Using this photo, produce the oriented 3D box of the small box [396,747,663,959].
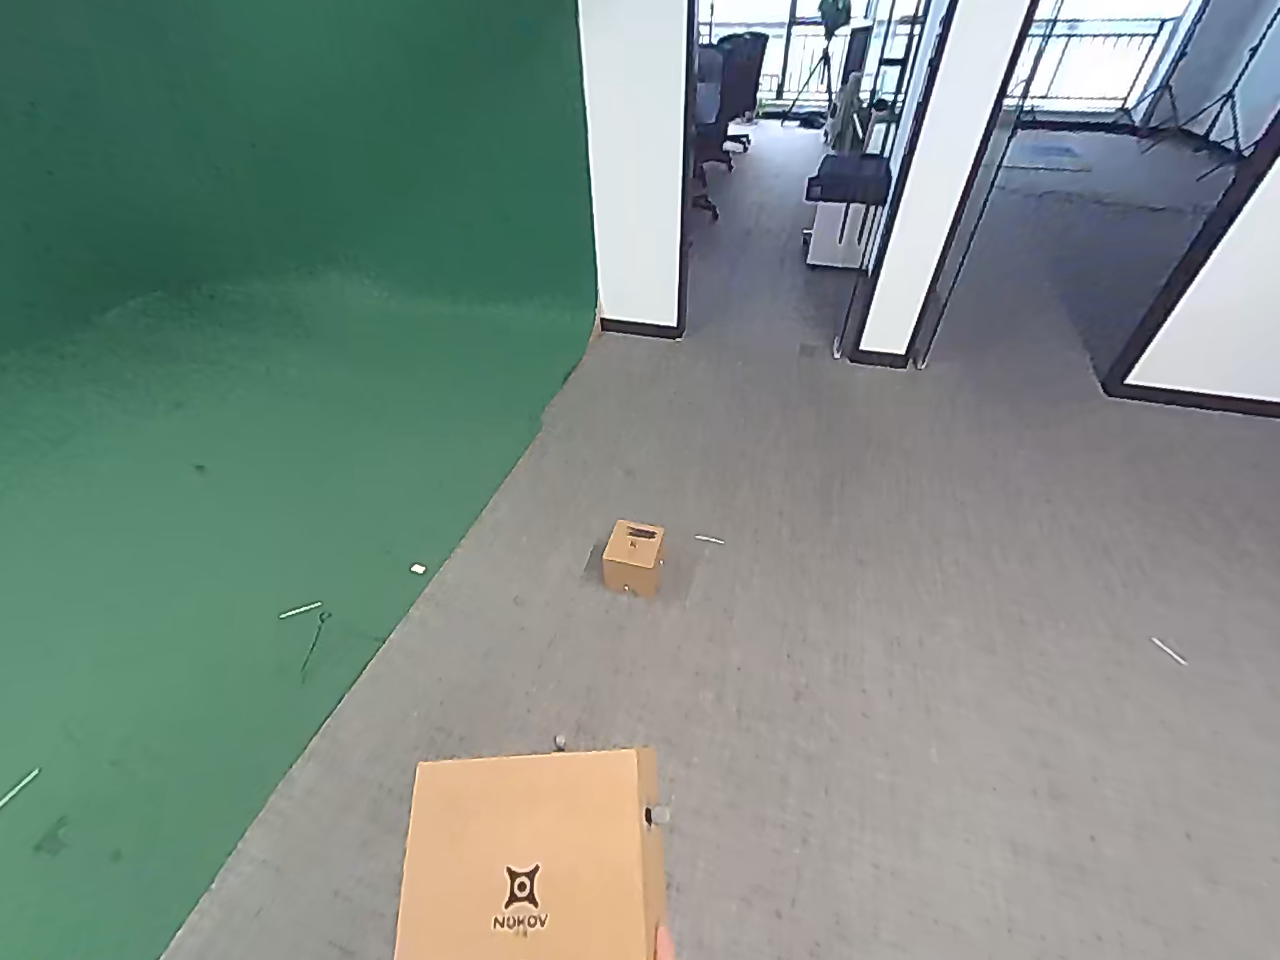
[{"bbox_3d":[-0.072,0.319,0.437,0.168,0.176,0.179,-6,63,5],"label":"small box"}]
